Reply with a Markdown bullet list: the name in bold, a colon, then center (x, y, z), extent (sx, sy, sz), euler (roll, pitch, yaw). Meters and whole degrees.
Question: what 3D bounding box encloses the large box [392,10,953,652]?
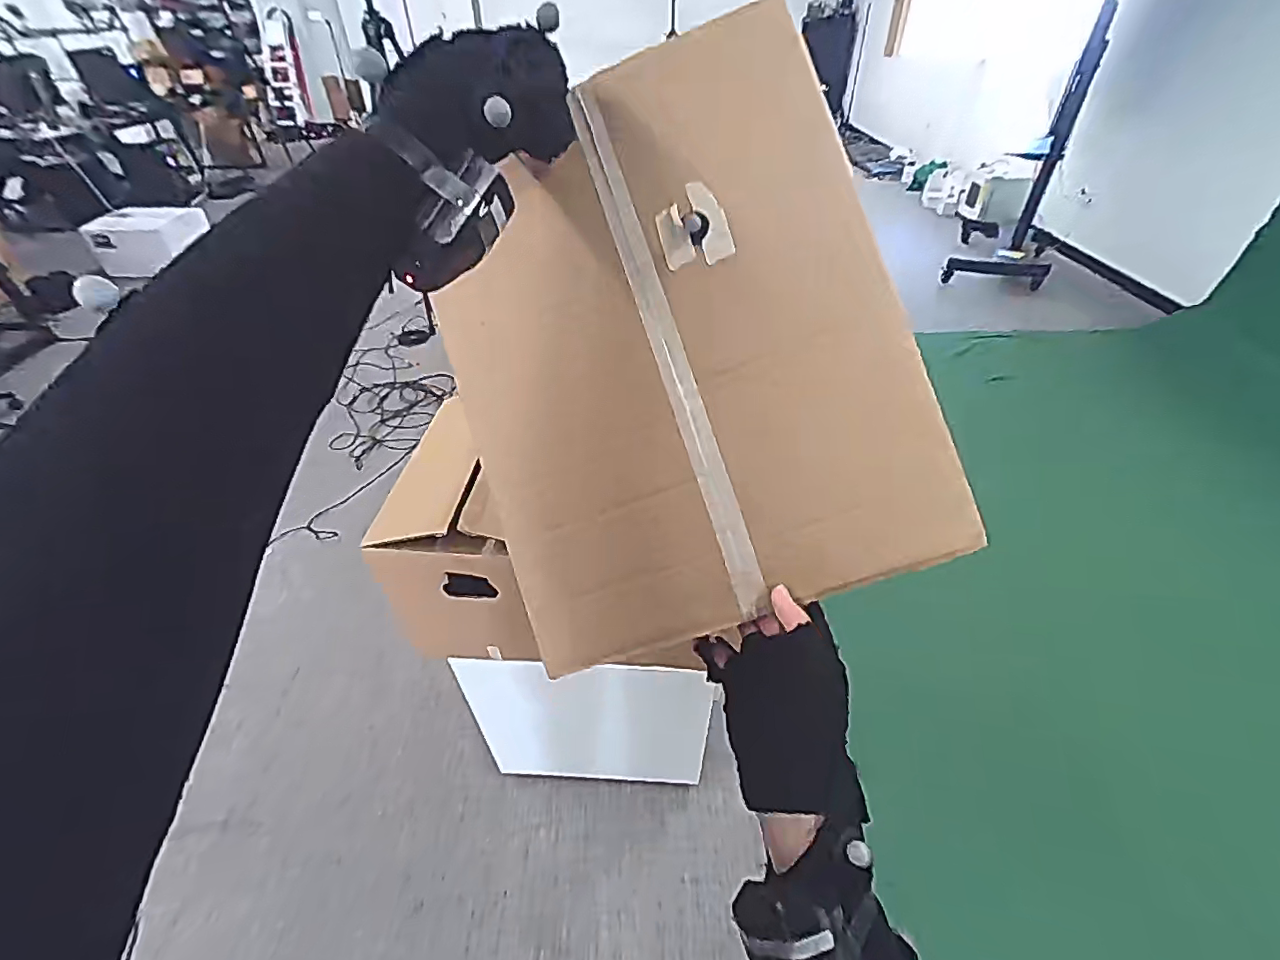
- **large box**: center (0.030, -0.100, 0.540), extent (0.320, 0.320, 0.408), euler (-19, 85, 8)
